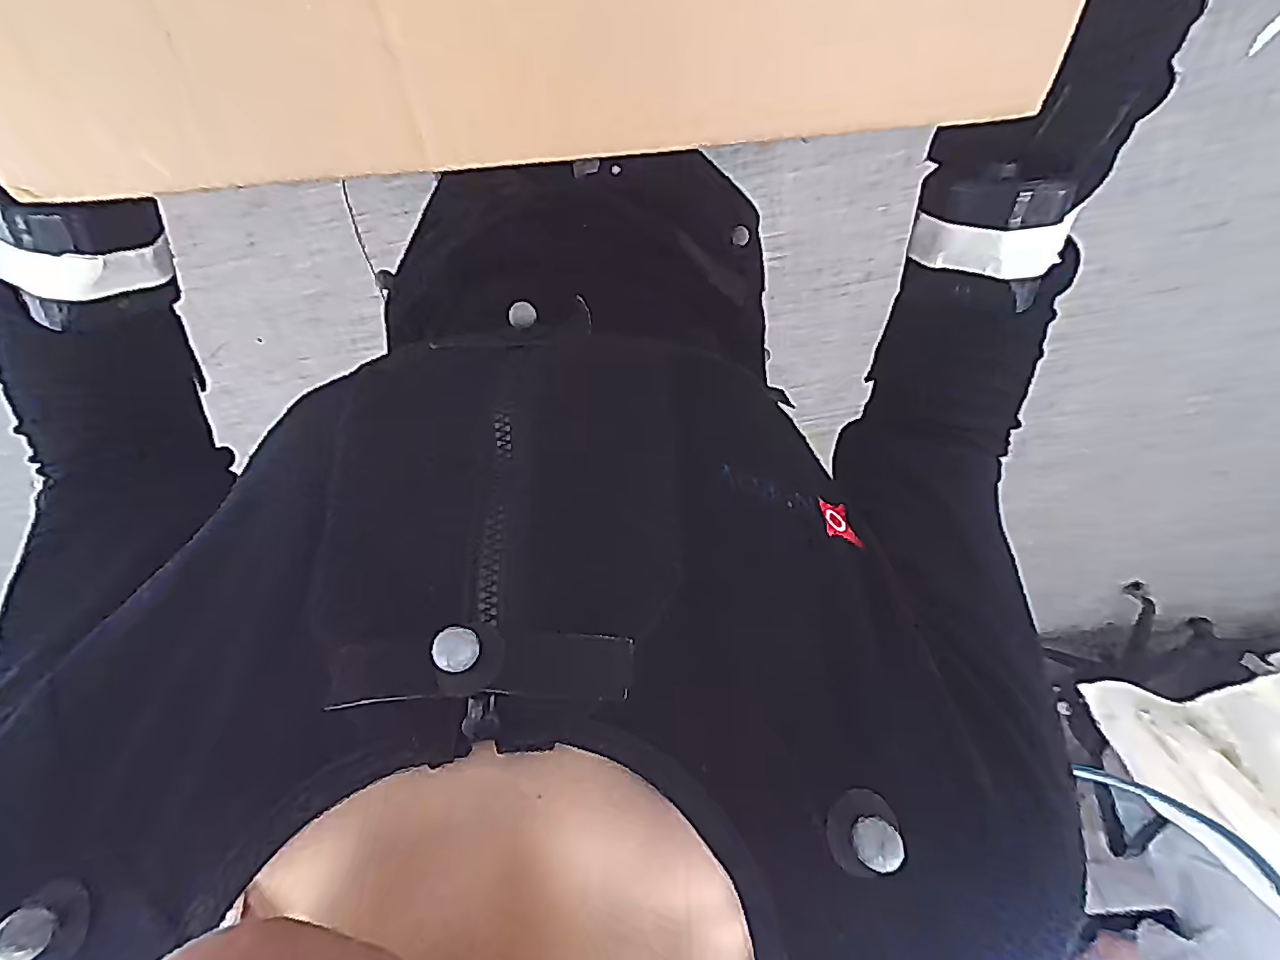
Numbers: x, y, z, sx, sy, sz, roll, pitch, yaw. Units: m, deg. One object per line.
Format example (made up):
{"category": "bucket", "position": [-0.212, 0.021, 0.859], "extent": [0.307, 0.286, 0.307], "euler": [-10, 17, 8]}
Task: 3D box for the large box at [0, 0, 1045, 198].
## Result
{"category": "large box", "position": [-0.064, -0.349, 0.213], "extent": [0.408, 0.320, 0.320], "euler": [-5, 136, 1]}
